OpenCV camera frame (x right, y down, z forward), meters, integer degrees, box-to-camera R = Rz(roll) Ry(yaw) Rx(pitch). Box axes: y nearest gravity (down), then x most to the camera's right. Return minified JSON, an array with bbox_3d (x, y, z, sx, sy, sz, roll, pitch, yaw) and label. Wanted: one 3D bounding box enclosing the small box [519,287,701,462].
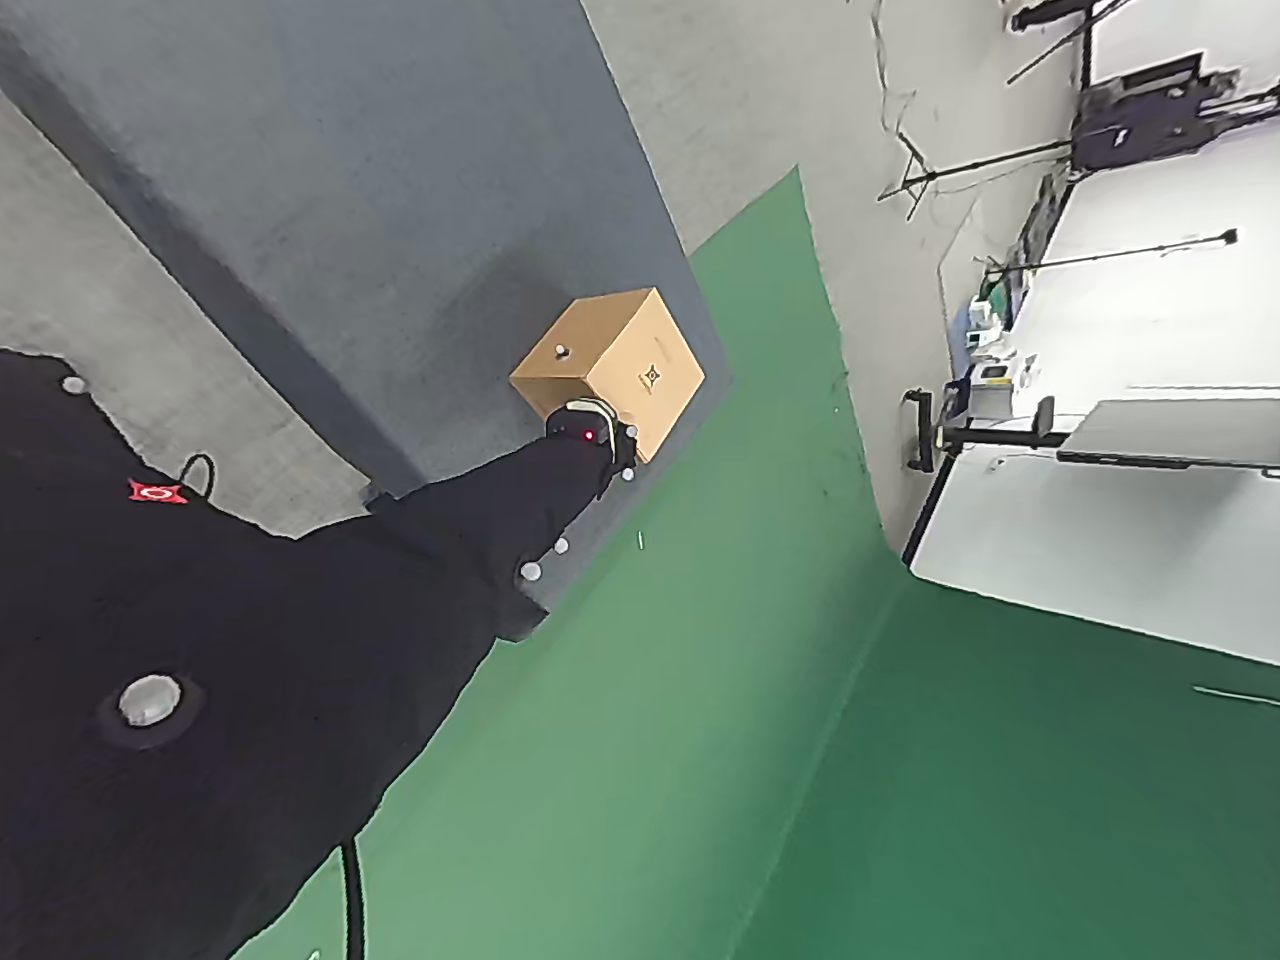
[{"bbox_3d":[-0.047,-0.148,0.779,0.179,0.176,0.168,-58,134,-23],"label":"small box"}]
